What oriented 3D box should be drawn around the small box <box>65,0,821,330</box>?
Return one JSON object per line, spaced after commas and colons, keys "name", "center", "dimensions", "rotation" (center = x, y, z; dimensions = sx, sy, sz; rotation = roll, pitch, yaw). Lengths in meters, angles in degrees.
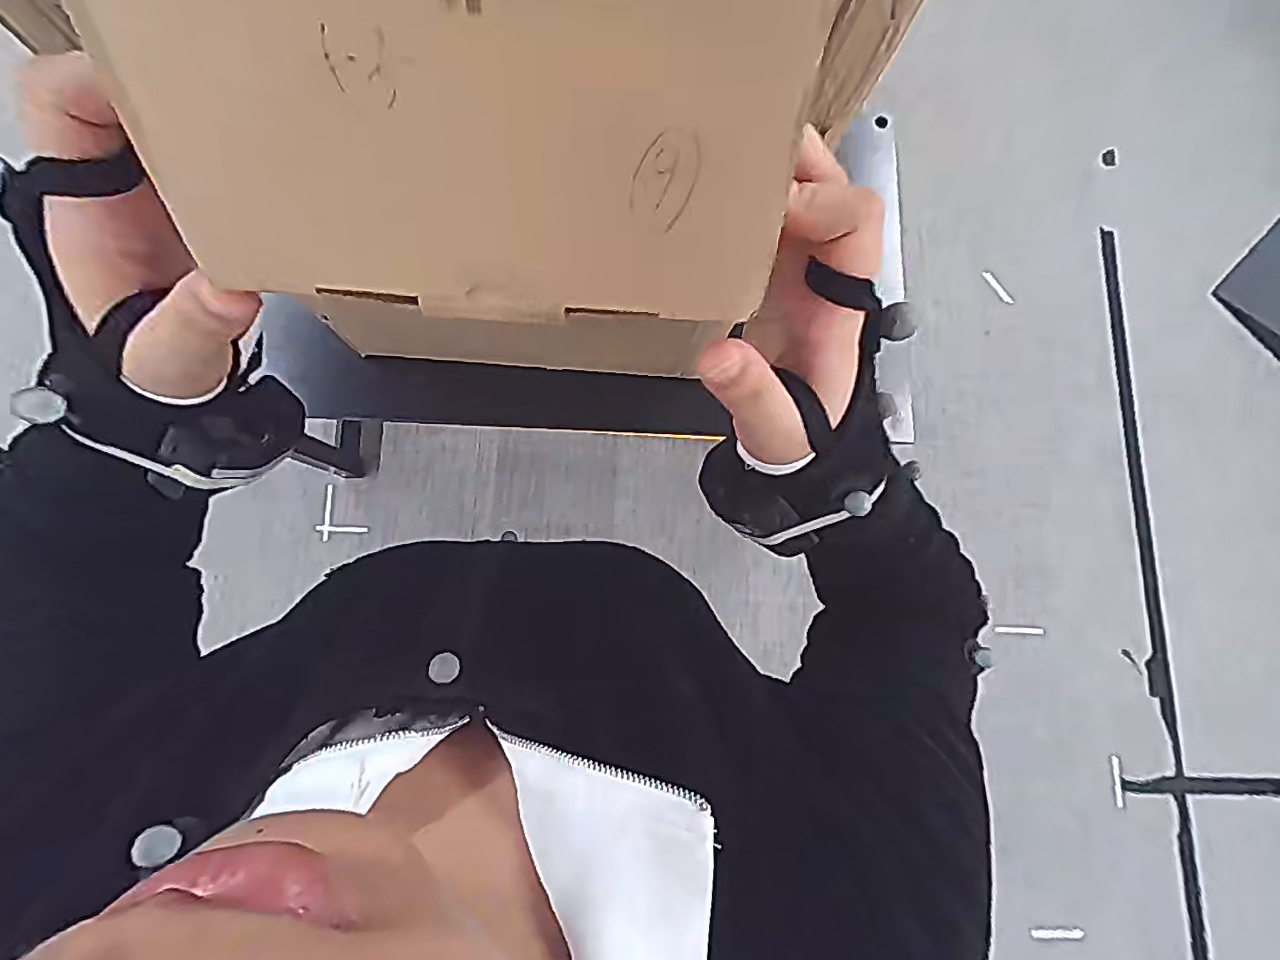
{"name": "small box", "center": [-0.041, -0.170, 0.166], "dimensions": [0.168, 0.179, 0.176], "rotation": [3, 42, -4]}
